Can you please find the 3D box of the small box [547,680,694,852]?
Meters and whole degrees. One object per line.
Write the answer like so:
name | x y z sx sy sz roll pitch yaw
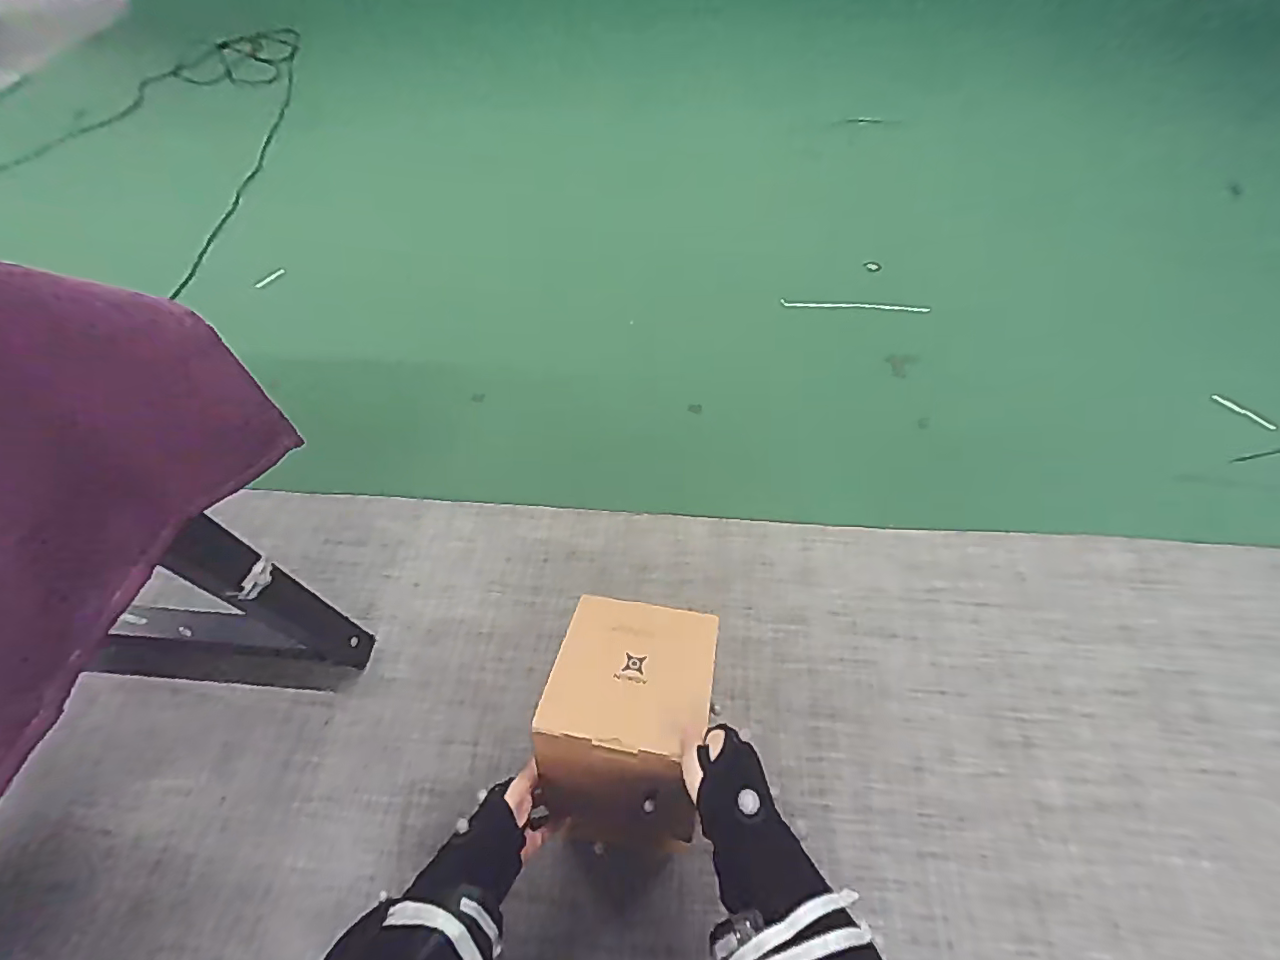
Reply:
small box | -0.018 0.397 0.748 0.168 0.176 0.179 6 56 5
